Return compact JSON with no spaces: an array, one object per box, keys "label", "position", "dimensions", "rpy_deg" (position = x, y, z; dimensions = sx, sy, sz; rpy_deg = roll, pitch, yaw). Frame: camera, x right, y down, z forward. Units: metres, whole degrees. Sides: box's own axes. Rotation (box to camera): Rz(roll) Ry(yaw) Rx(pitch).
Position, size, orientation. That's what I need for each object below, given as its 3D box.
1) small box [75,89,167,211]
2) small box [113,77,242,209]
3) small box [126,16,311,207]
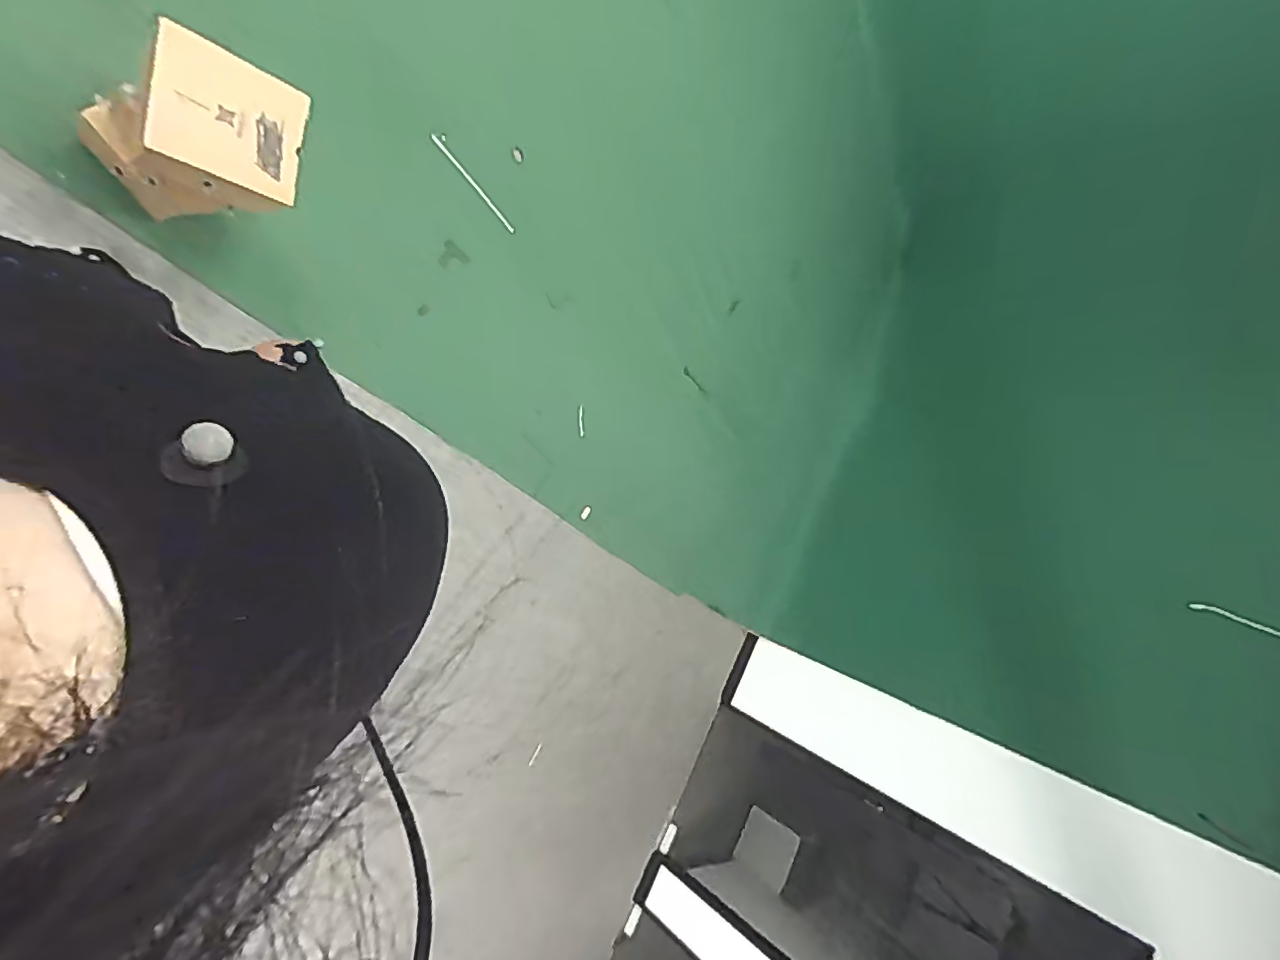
[{"label":"small box","position":[-0.877,-0.618,0.998],"dimensions":[0.179,0.176,0.168],"rpy_deg":[-50,136,-25]},{"label":"small box","position":[-0.745,-0.561,0.917],"dimensions":[0.179,0.176,0.168],"rpy_deg":[-32,128,-39]},{"label":"small box","position":[-0.628,-0.527,0.806],"dimensions":[0.179,0.176,0.168],"rpy_deg":[7,99,-49]}]
